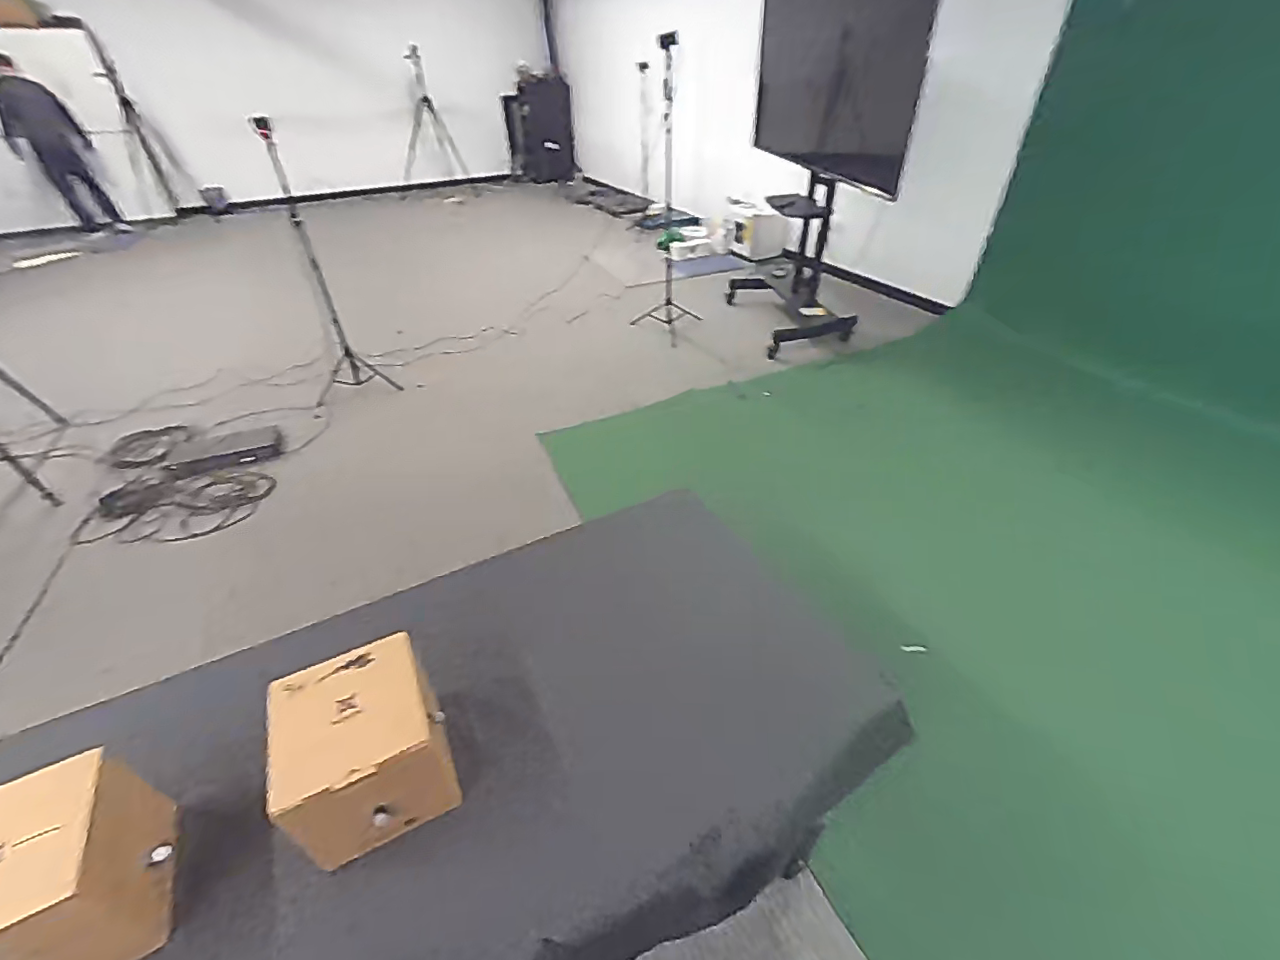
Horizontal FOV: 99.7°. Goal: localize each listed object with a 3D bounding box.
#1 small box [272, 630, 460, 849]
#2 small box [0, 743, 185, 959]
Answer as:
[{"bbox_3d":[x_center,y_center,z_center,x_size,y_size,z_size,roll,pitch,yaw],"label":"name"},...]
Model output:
[{"bbox_3d":[-0.346,0.336,0.697,0.168,0.176,0.179,-19,42,-21],"label":"small box"},{"bbox_3d":[-0.640,0.434,0.579,0.179,0.176,0.168,-20,42,-24],"label":"small box"}]
